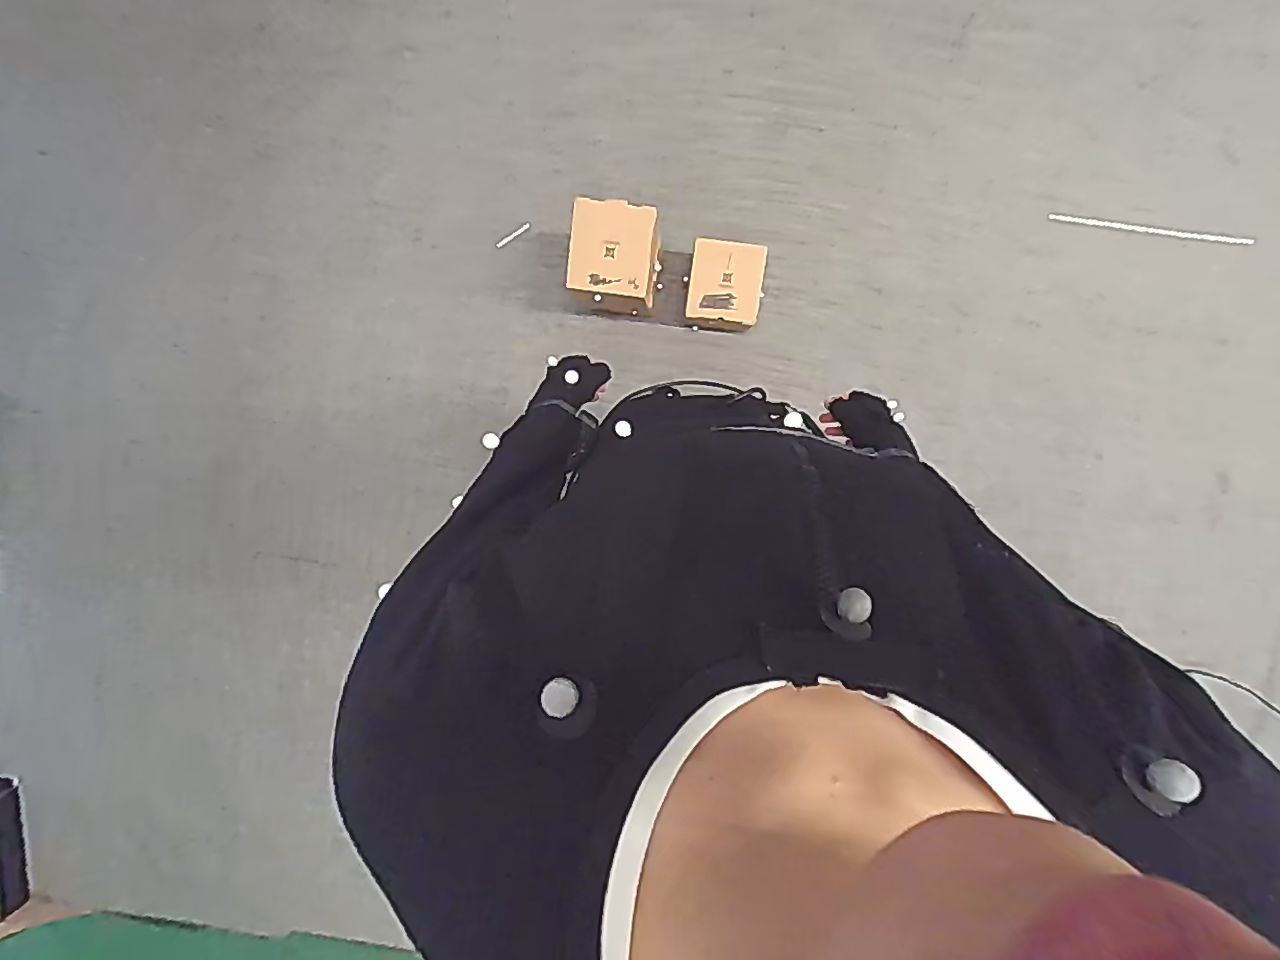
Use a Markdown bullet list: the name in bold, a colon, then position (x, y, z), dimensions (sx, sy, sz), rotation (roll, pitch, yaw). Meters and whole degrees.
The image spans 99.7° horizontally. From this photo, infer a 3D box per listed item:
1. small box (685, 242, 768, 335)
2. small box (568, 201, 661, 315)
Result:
- **small box**: position (0.203, -0.454, 1.310), dimensions (0.168, 0.176, 0.179), rotation (8, 99, 2)
- **small box**: position (-0.049, -0.466, 1.158), dimensions (0.168, 0.176, 0.179), rotation (9, 99, 2)
